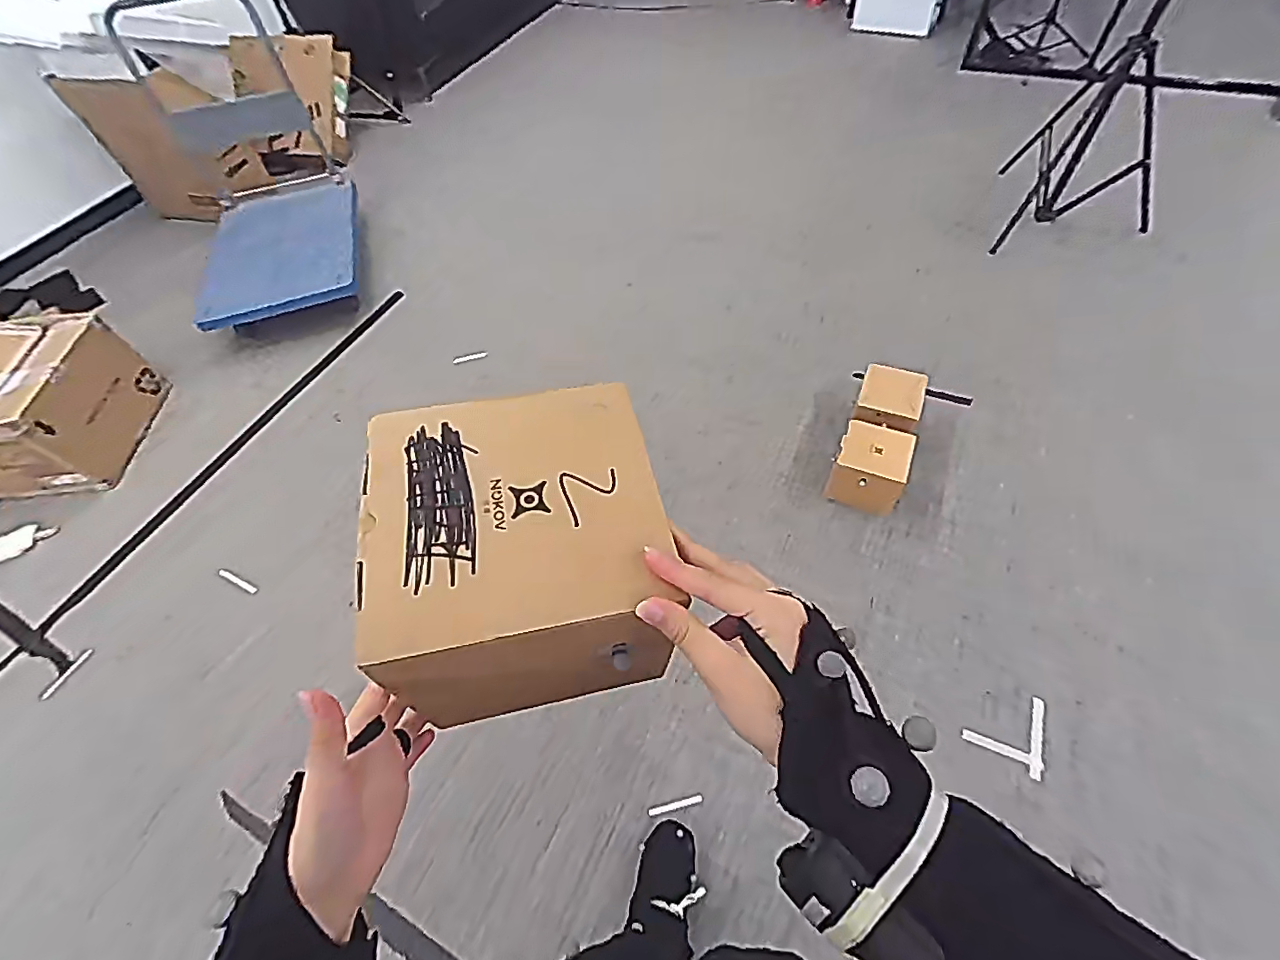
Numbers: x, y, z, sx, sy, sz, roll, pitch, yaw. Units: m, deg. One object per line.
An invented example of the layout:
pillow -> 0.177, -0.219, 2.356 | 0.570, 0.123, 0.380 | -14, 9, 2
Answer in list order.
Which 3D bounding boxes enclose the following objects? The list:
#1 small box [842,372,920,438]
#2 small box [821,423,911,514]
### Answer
small box -> 0.715, -0.203, 1.608 | 0.168, 0.176, 0.179 | 17, 60, 17
small box -> 0.625, -0.026, 1.505 | 0.179, 0.176, 0.168 | 18, 60, 17
